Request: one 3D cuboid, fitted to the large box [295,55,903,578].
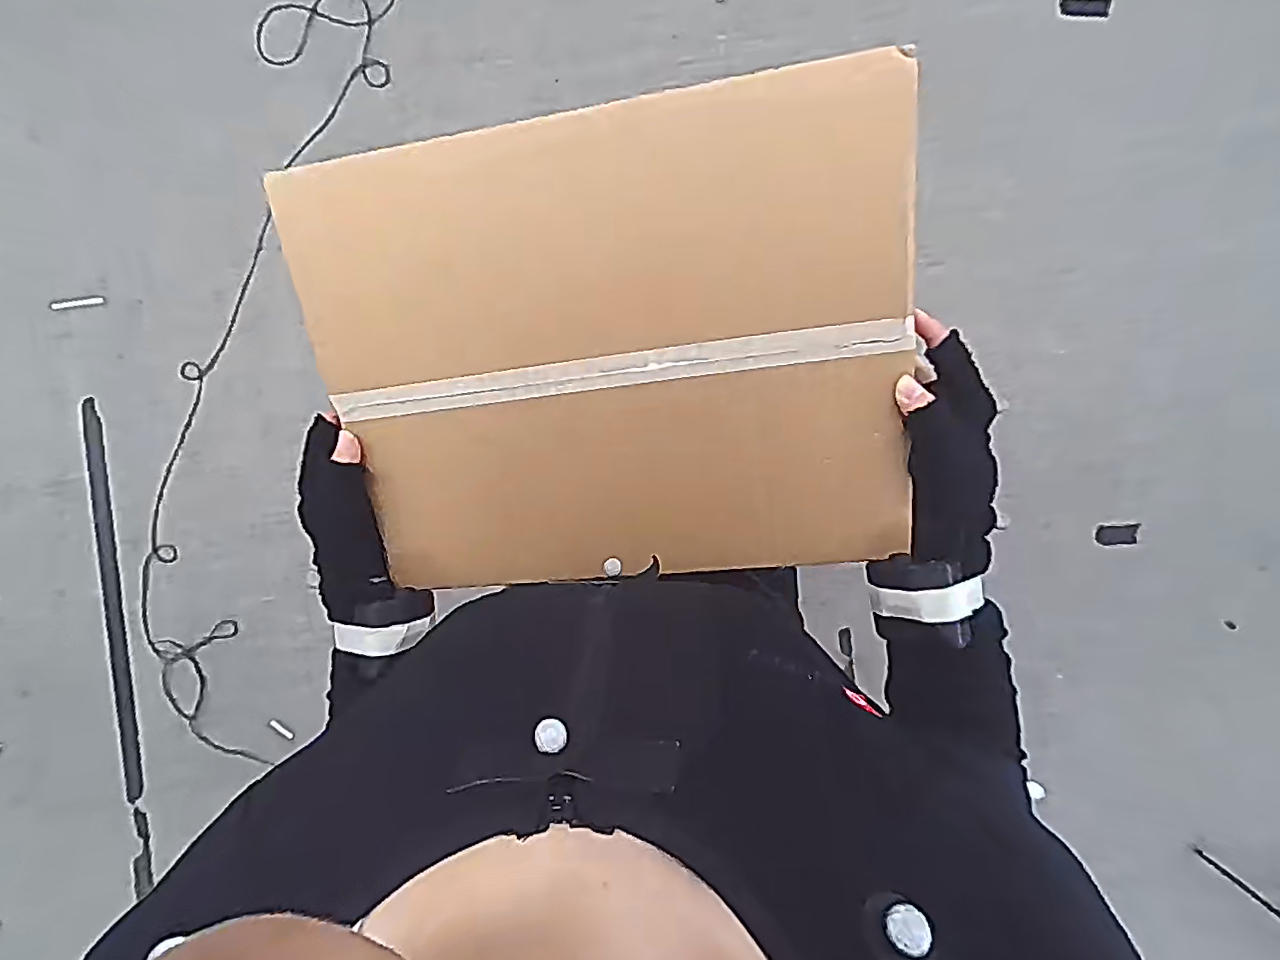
[{"bbox_3d":[-0.008,-0.128,0.525,0.408,0.320,0.320,-5,110,9],"label":"large box"}]
